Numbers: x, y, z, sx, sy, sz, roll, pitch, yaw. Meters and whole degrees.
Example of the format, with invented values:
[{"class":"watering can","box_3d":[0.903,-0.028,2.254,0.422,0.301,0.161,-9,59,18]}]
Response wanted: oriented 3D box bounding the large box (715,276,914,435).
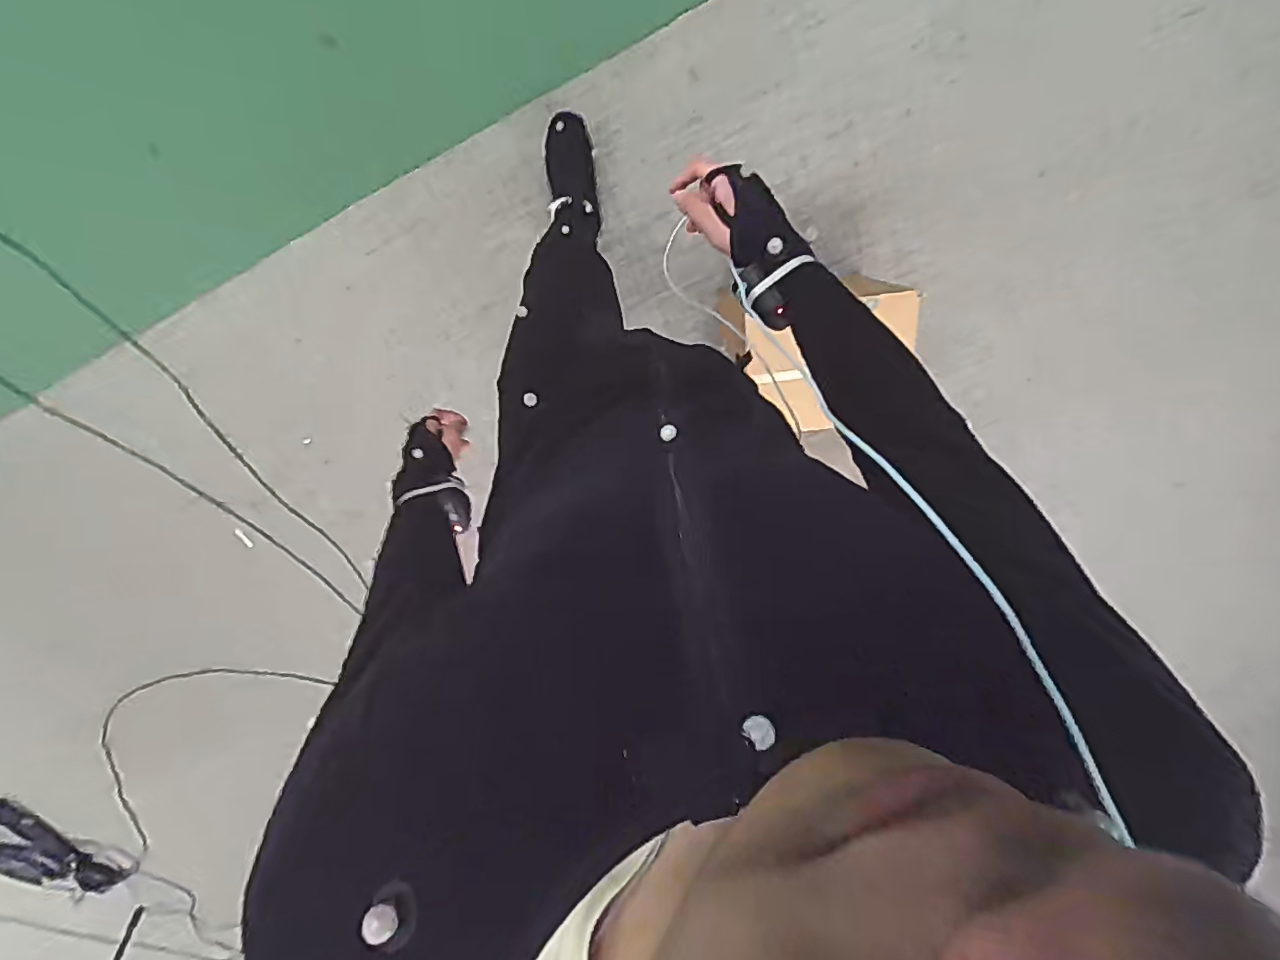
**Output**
[{"class":"large box","box_3d":[0.430,-0.338,1.413,0.408,0.320,0.320,-8,117,0]}]
